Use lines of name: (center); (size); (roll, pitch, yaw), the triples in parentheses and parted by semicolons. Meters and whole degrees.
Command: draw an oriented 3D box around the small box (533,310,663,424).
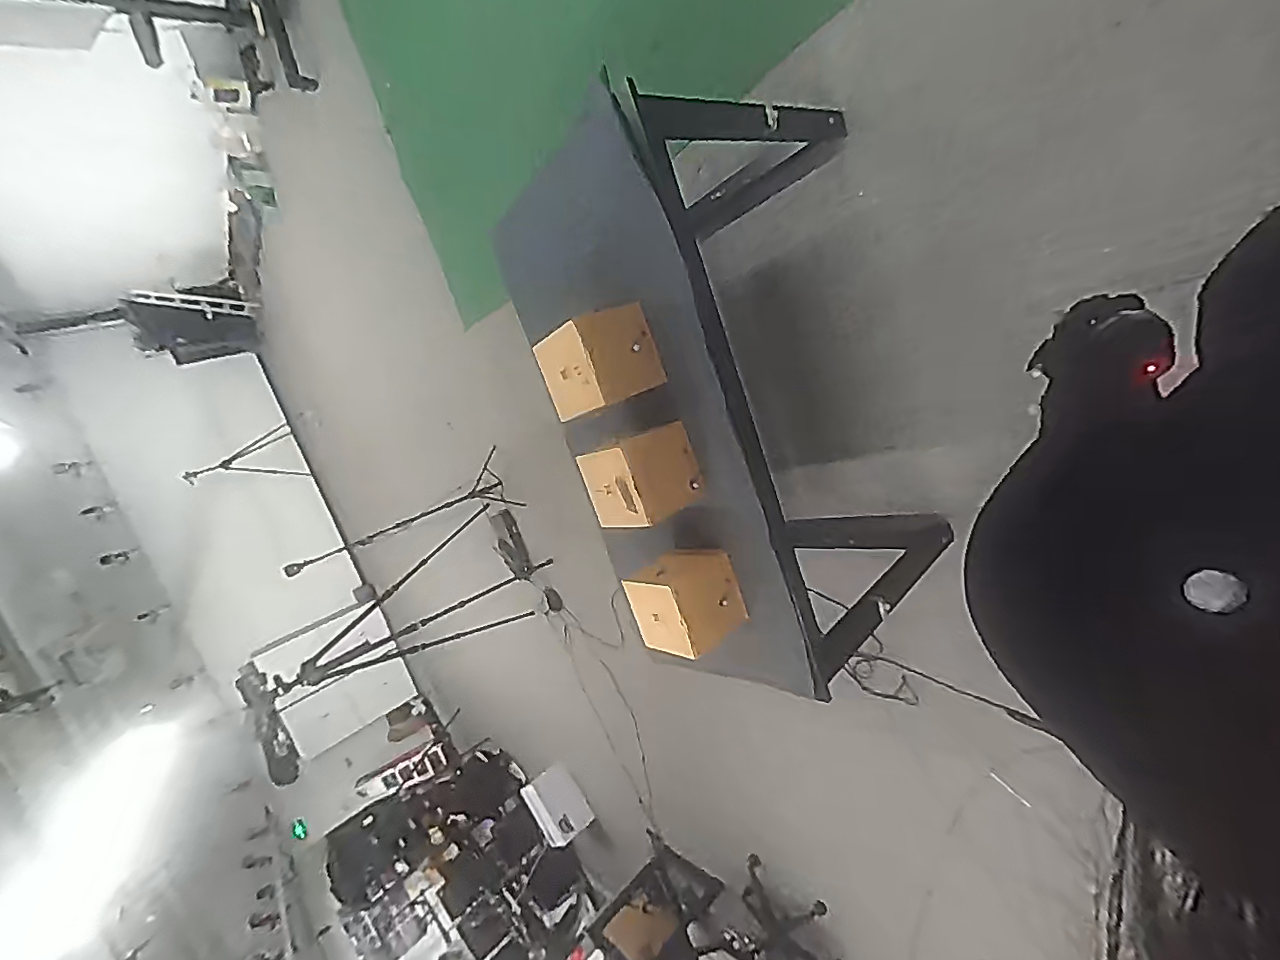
small box: (-0.084, -0.228, 1.096); (0.179, 0.176, 0.168); (-11, 103, 53)

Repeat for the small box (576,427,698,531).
small box: (0.000, -0.003, 1.129); (0.179, 0.176, 0.168); (-8, 105, 53)

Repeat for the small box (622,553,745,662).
small box: (0.096, 0.266, 1.174); (0.179, 0.176, 0.168); (-10, 102, 53)
